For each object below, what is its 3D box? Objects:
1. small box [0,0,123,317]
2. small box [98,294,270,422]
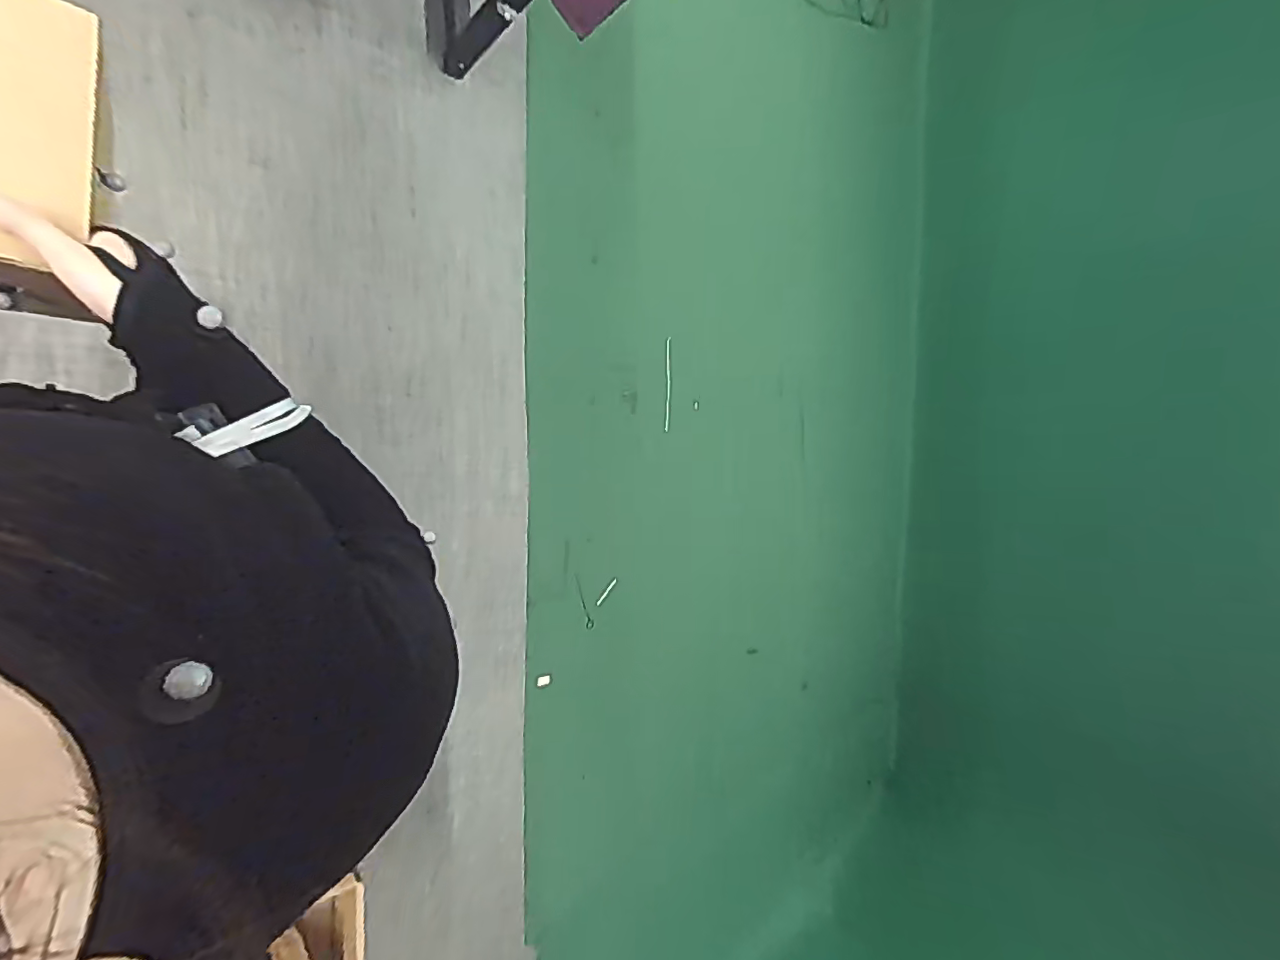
[{"bbox_3d":[-0.473,-0.225,0.367,0.168,0.176,0.179,3,89,-41],"label":"small box"},{"bbox_3d":[-0.898,-0.242,1.069,0.168,0.176,0.179,55,28,-12],"label":"small box"}]
